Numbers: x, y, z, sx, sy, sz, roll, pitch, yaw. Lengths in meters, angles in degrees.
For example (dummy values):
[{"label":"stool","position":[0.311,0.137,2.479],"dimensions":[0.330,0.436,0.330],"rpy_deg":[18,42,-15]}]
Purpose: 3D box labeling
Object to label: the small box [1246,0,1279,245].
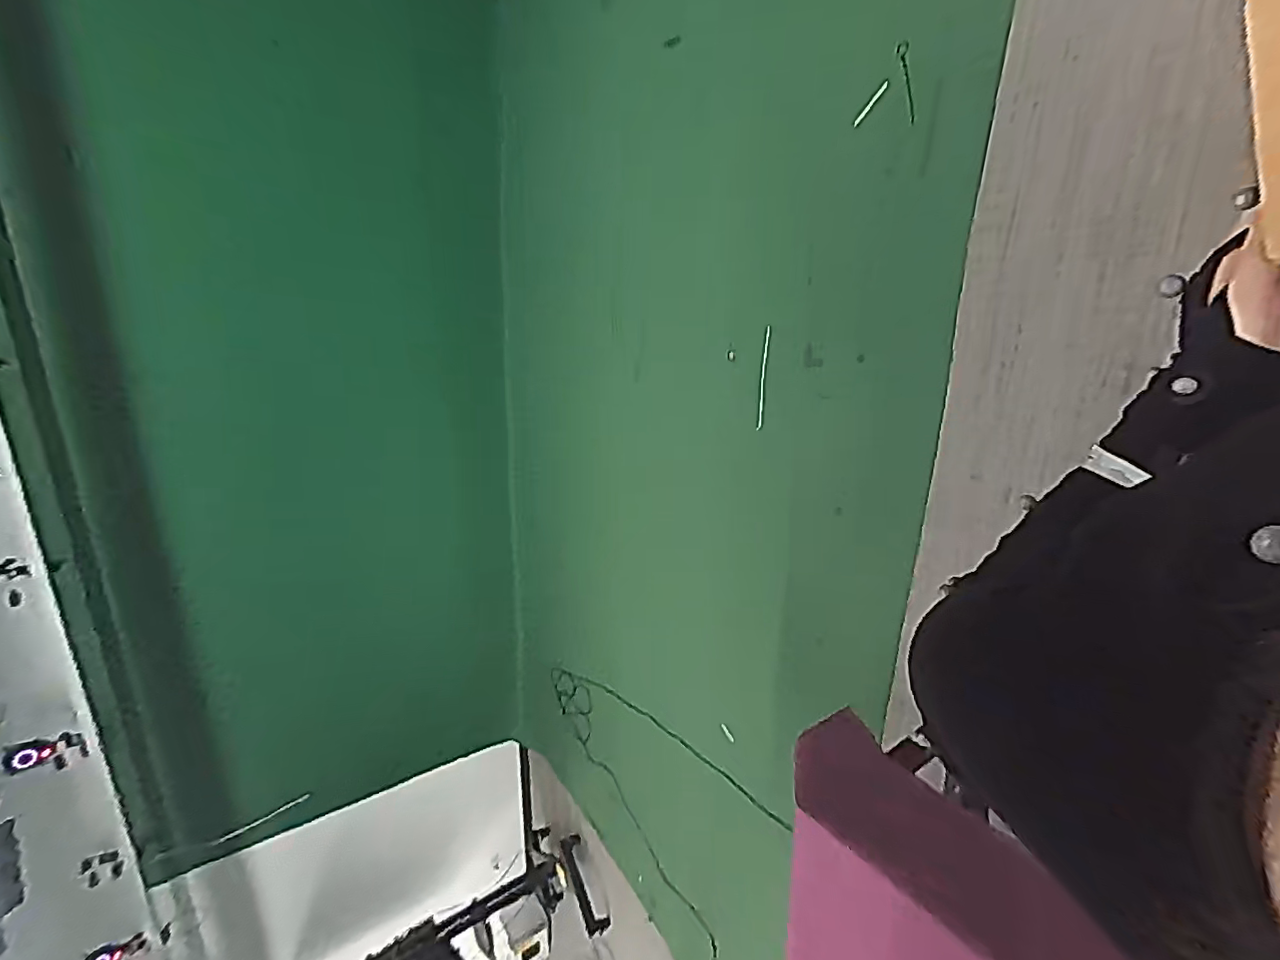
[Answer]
[{"label":"small box","position":[0.419,-0.225,0.253],"dimensions":[0.168,0.176,0.179],"rpy_deg":[-3,102,56]}]
